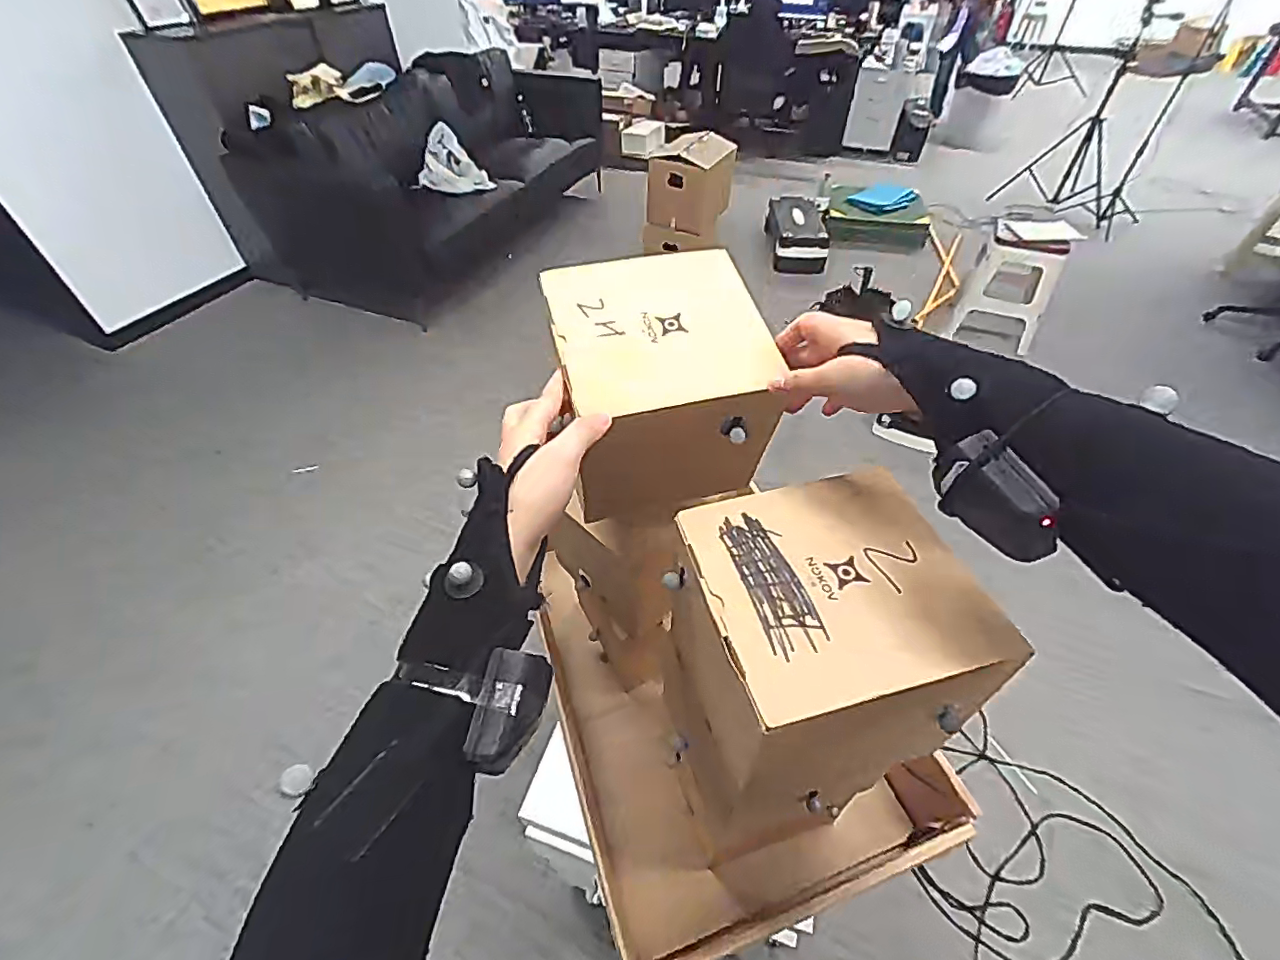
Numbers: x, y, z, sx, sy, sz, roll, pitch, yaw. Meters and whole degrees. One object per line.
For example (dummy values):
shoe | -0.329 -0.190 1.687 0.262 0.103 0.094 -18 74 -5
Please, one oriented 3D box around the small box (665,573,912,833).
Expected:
small box | 0.130 0.227 0.553 0.179 0.176 0.168 -14 46 -11

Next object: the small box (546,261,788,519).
small box | 0.014 -0.082 0.528 0.179 0.176 0.168 -12 60 -10

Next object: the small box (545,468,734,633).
small box | 0.001 0.063 0.715 0.179 0.176 0.168 -37 55 -27
